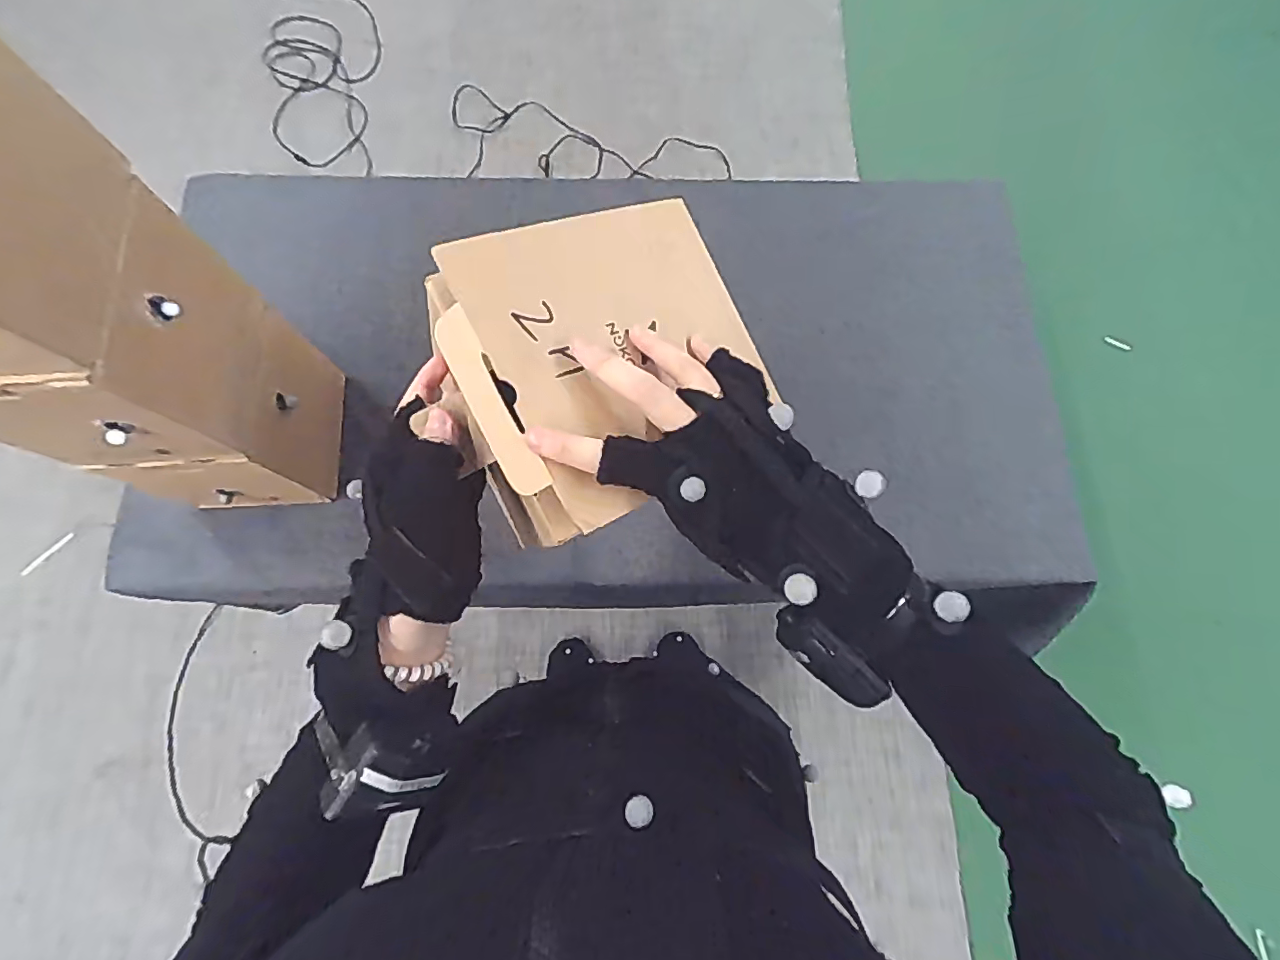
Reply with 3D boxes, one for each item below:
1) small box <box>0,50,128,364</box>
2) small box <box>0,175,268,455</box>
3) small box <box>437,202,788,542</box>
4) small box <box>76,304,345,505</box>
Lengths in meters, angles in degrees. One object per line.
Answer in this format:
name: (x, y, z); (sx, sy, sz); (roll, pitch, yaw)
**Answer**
small box: (-0.451, -0.175, 0.306); (0.168, 0.176, 0.179); (-4, 74, -4)
small box: (-0.456, -0.124, 0.462); (0.168, 0.176, 0.179); (-2, 74, -3)
small box: (-0.033, -0.065, 0.400); (0.179, 0.176, 0.168); (-26, 91, -20)
small box: (-0.462, -0.077, 0.618); (0.168, 0.176, 0.179); (-3, 75, -3)
